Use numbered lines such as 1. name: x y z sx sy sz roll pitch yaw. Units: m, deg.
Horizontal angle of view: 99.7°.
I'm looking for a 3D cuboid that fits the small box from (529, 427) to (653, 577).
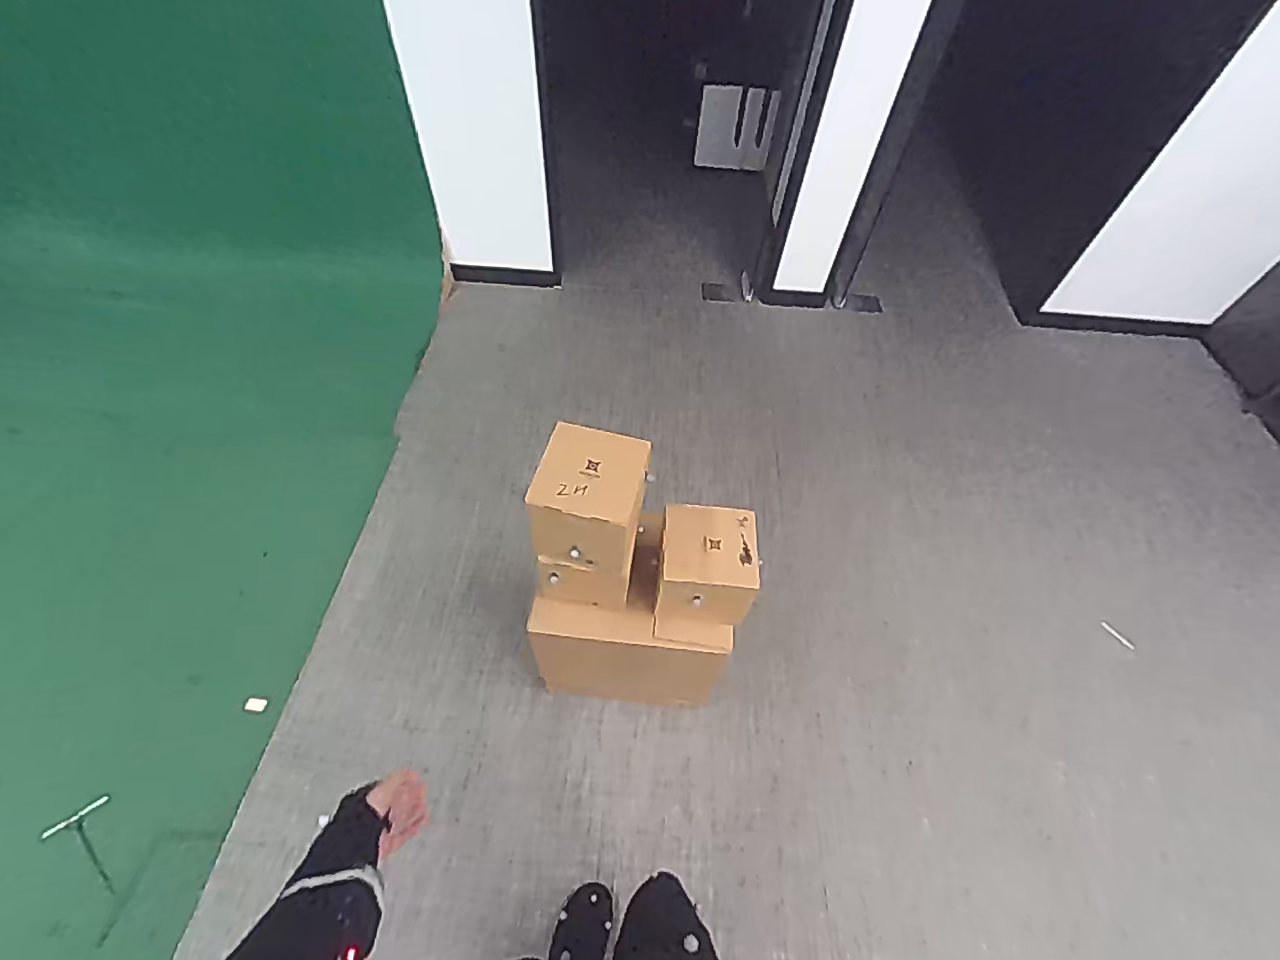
1. small box: -0.081 0.041 0.936 0.168 0.176 0.179 13 54 5
